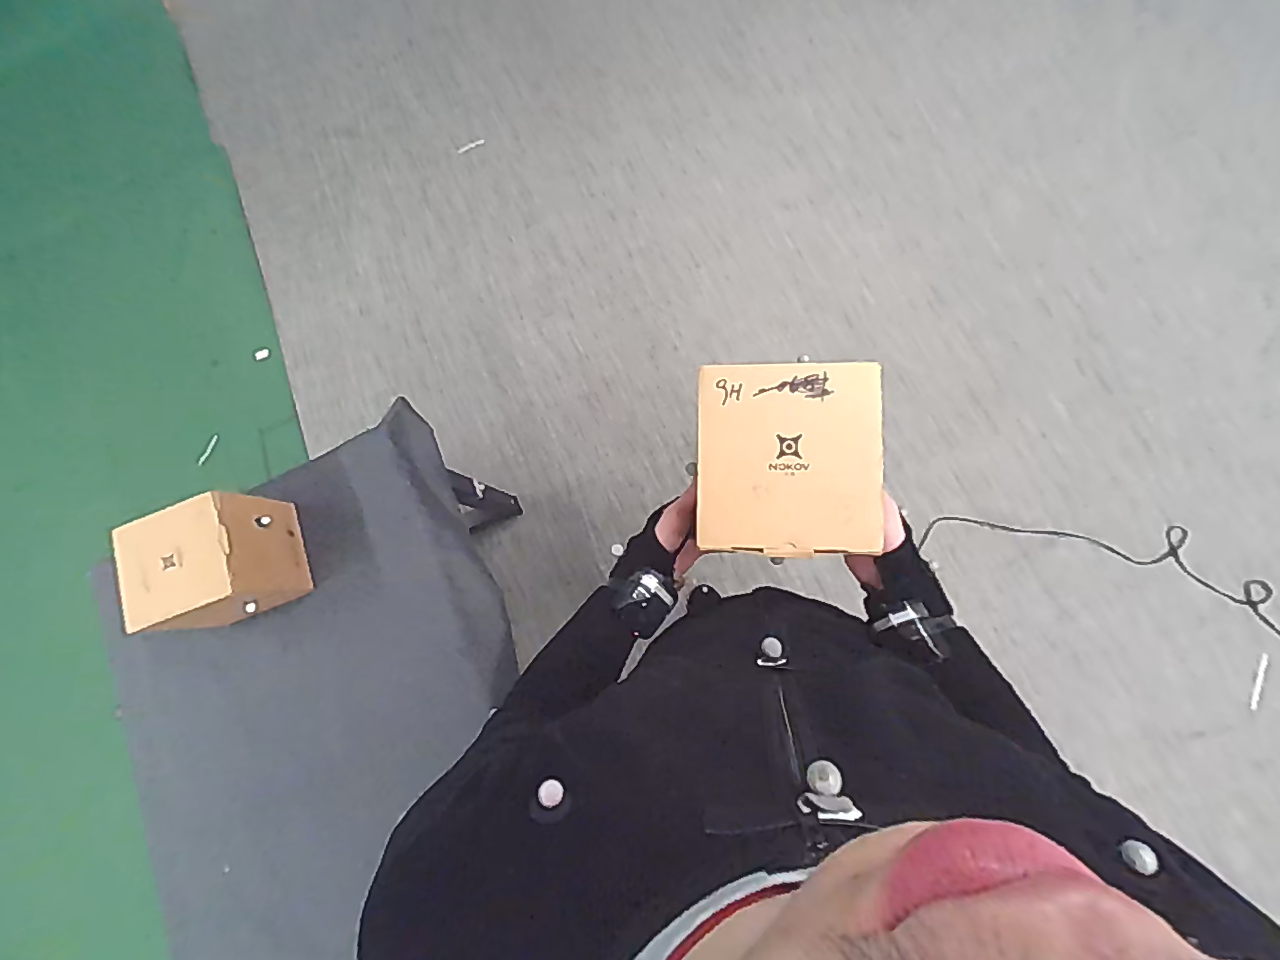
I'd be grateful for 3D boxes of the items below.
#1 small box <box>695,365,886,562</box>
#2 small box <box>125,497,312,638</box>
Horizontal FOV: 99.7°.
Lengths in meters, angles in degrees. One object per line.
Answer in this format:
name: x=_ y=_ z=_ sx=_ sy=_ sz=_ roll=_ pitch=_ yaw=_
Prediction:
small box: x=0.145 y=-0.012 z=0.562 sx=0.168 sy=0.176 sz=0.179 roll=1 pitch=85 yaw=7
small box: x=-0.666 y=0.143 z=0.876 sx=0.179 sy=0.176 sz=0.168 roll=-22 pitch=75 yaw=4
